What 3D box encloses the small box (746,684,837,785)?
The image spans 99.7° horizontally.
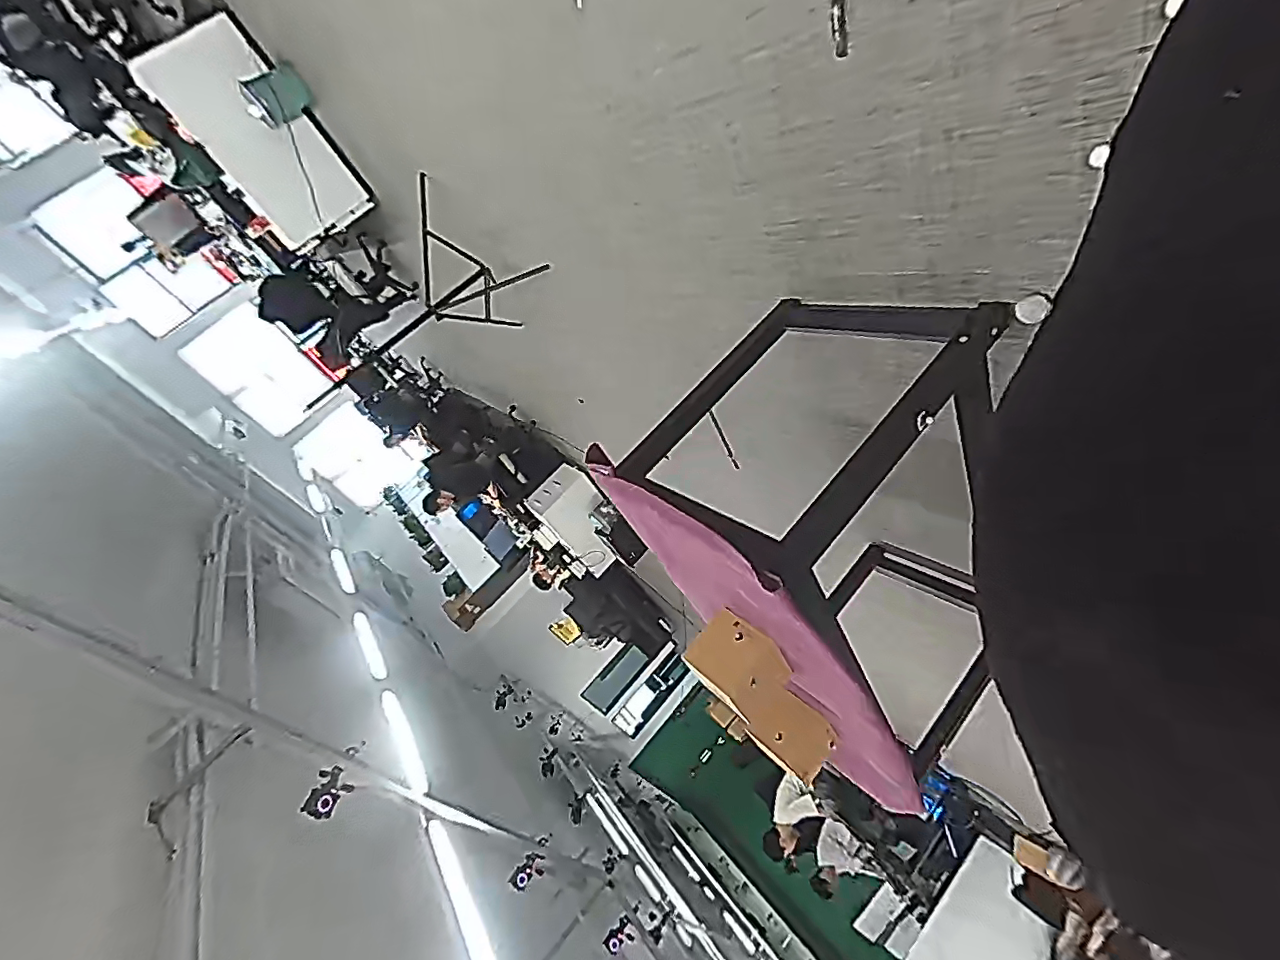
[{"bbox_3d":[0.444,0.727,1.558,0.179,0.176,0.168,26,157,50],"label":"small box"}]
